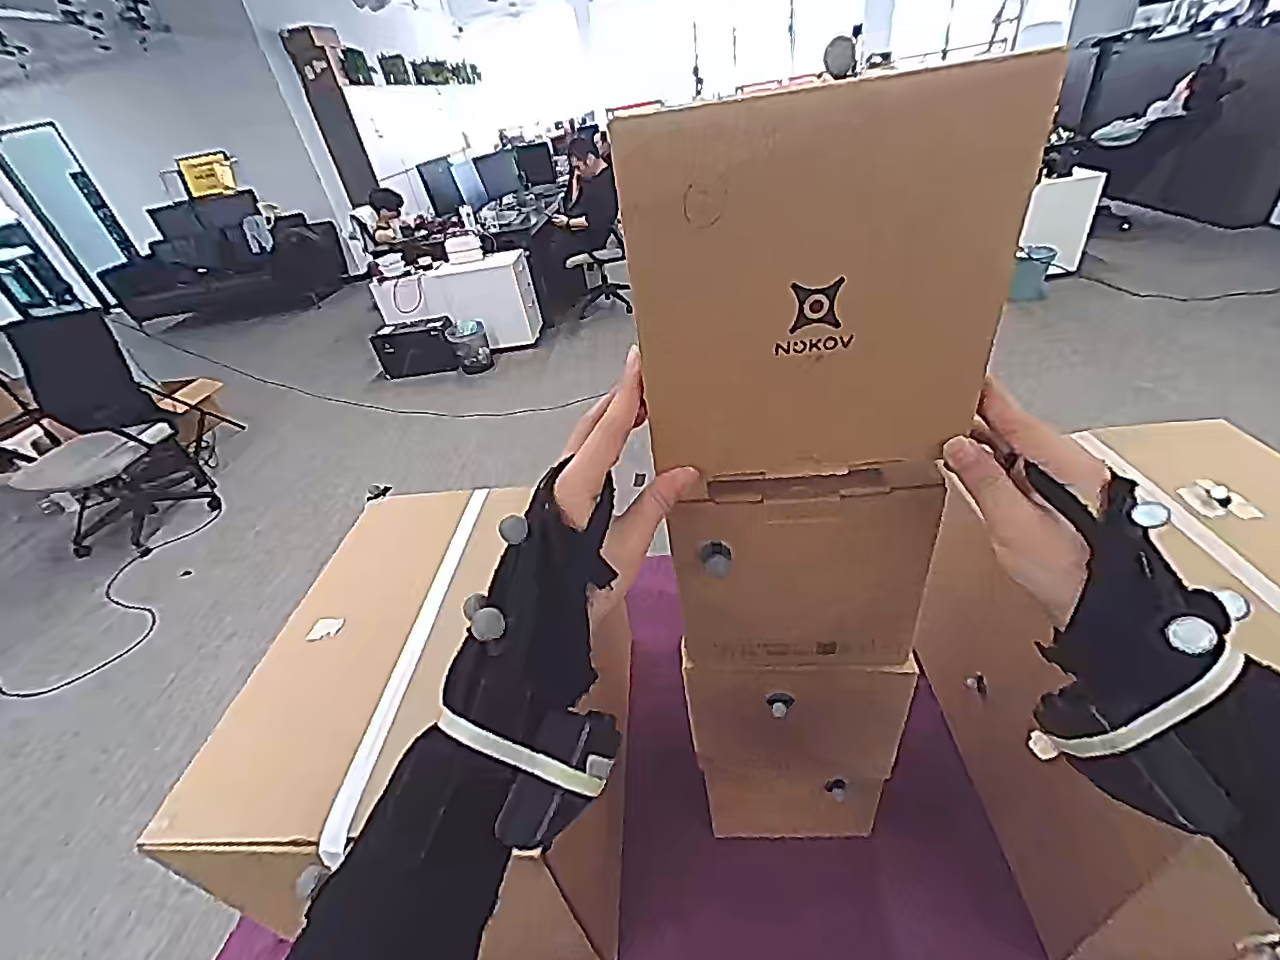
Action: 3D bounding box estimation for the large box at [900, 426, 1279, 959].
[{"bbox_3d":[0.507,0.190,0.547,0.320,0.320,0.408,-6,34,6],"label":"large box"}]
